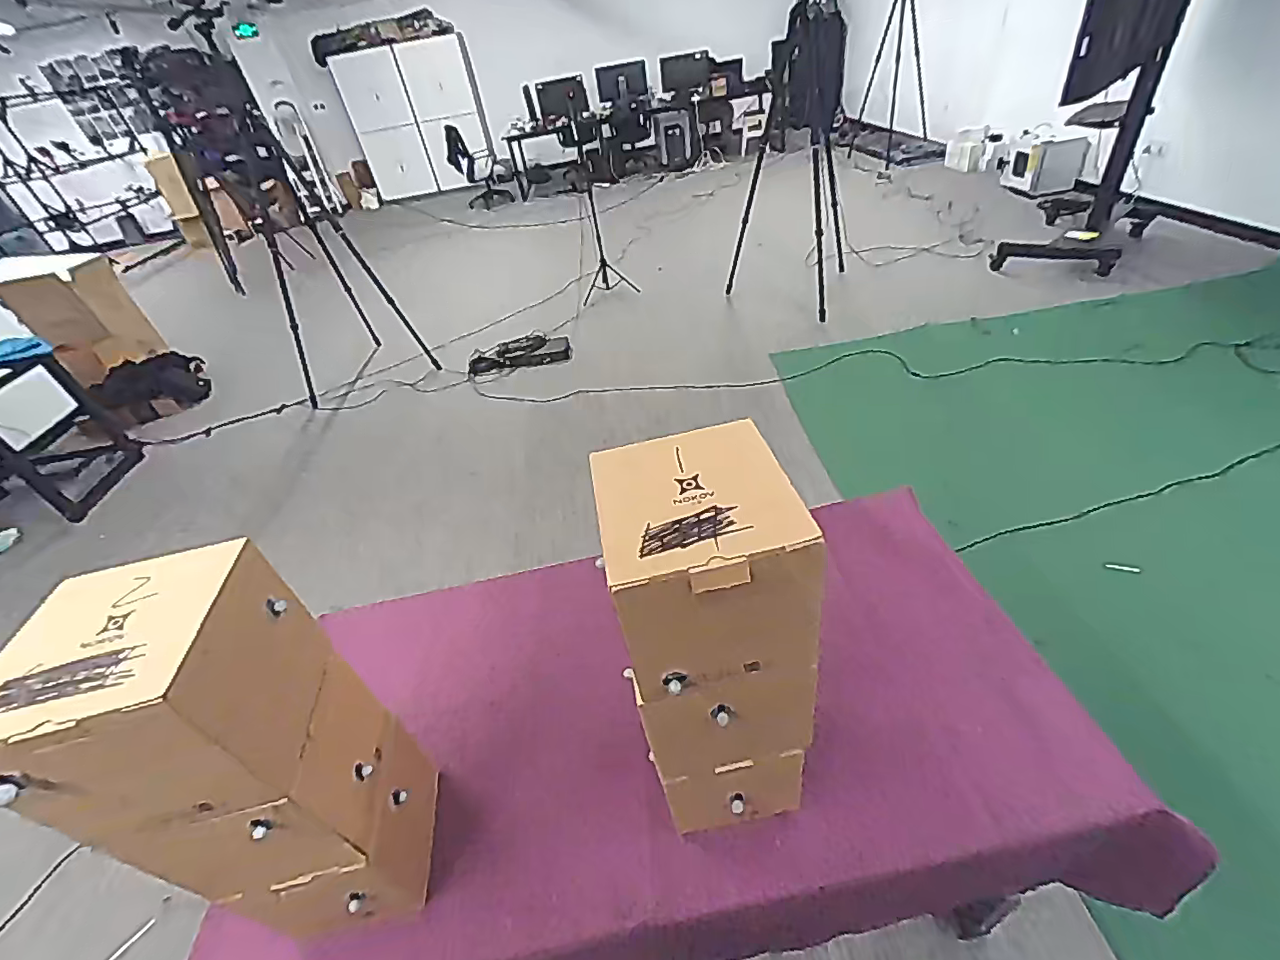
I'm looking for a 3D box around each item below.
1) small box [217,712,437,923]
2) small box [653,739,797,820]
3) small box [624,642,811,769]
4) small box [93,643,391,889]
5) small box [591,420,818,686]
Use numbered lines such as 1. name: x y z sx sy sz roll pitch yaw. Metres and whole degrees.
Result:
1. small box: -0.377 0.436 0.695 0.168 0.176 0.179 -12 39 -3
2. small box: 0.100 0.326 0.720 0.168 0.176 0.179 -11 40 -1
3. small box: 0.079 0.201 0.614 0.179 0.176 0.168 -12 40 -2
4. small box: -0.404 0.313 0.592 0.179 0.176 0.168 -13 40 -5
5. small box: 0.056 0.072 0.513 0.168 0.176 0.179 -12 38 -2
